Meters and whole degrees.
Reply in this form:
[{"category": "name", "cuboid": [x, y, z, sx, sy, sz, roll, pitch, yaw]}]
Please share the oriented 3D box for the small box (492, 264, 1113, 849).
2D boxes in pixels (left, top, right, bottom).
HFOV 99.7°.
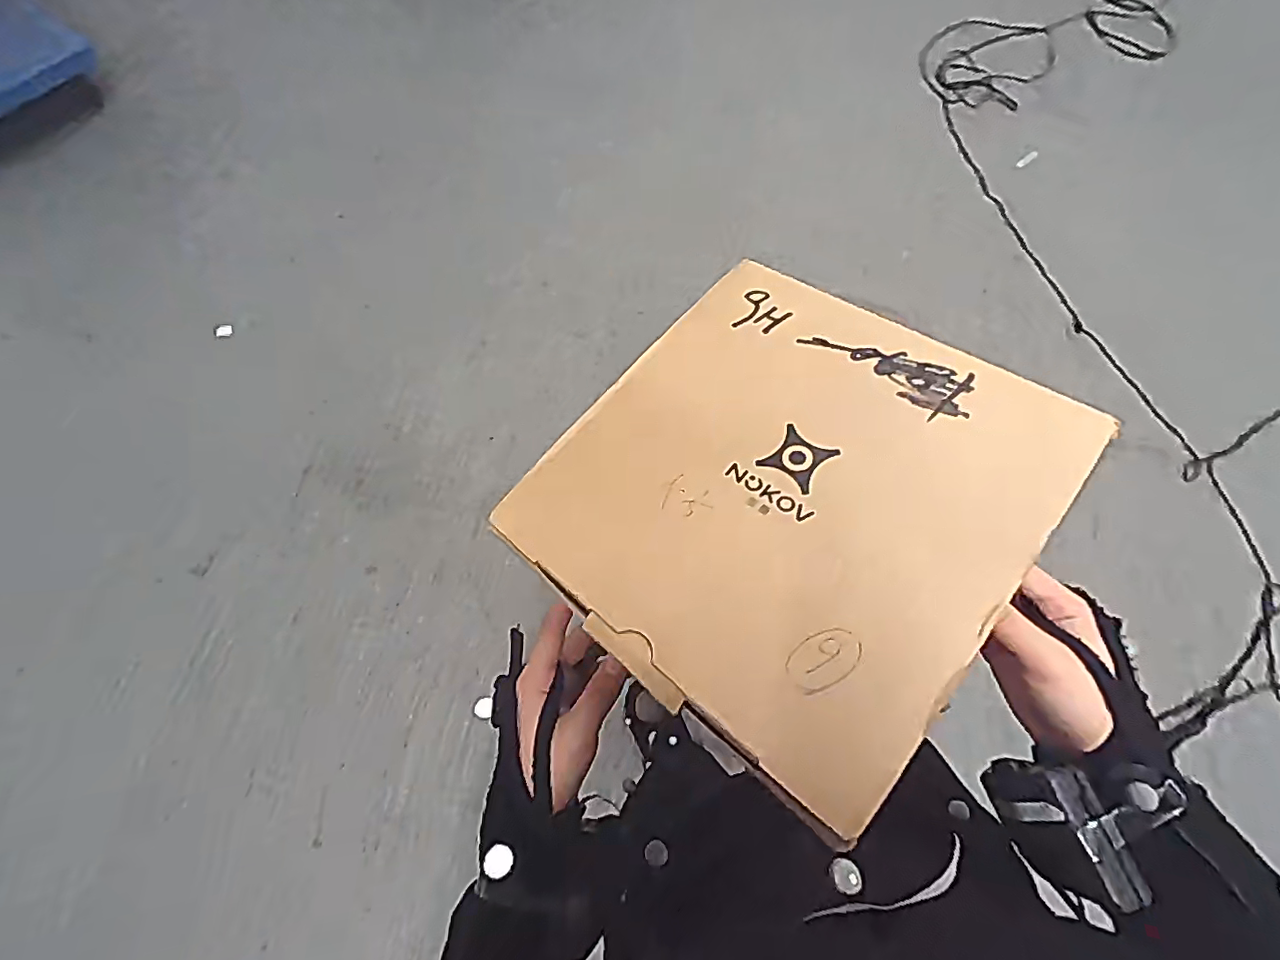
[{"category": "small box", "cuboid": [0.068, 0.037, 0.274, 0.168, 0.176, 0.179, 36, 76, 25]}]
